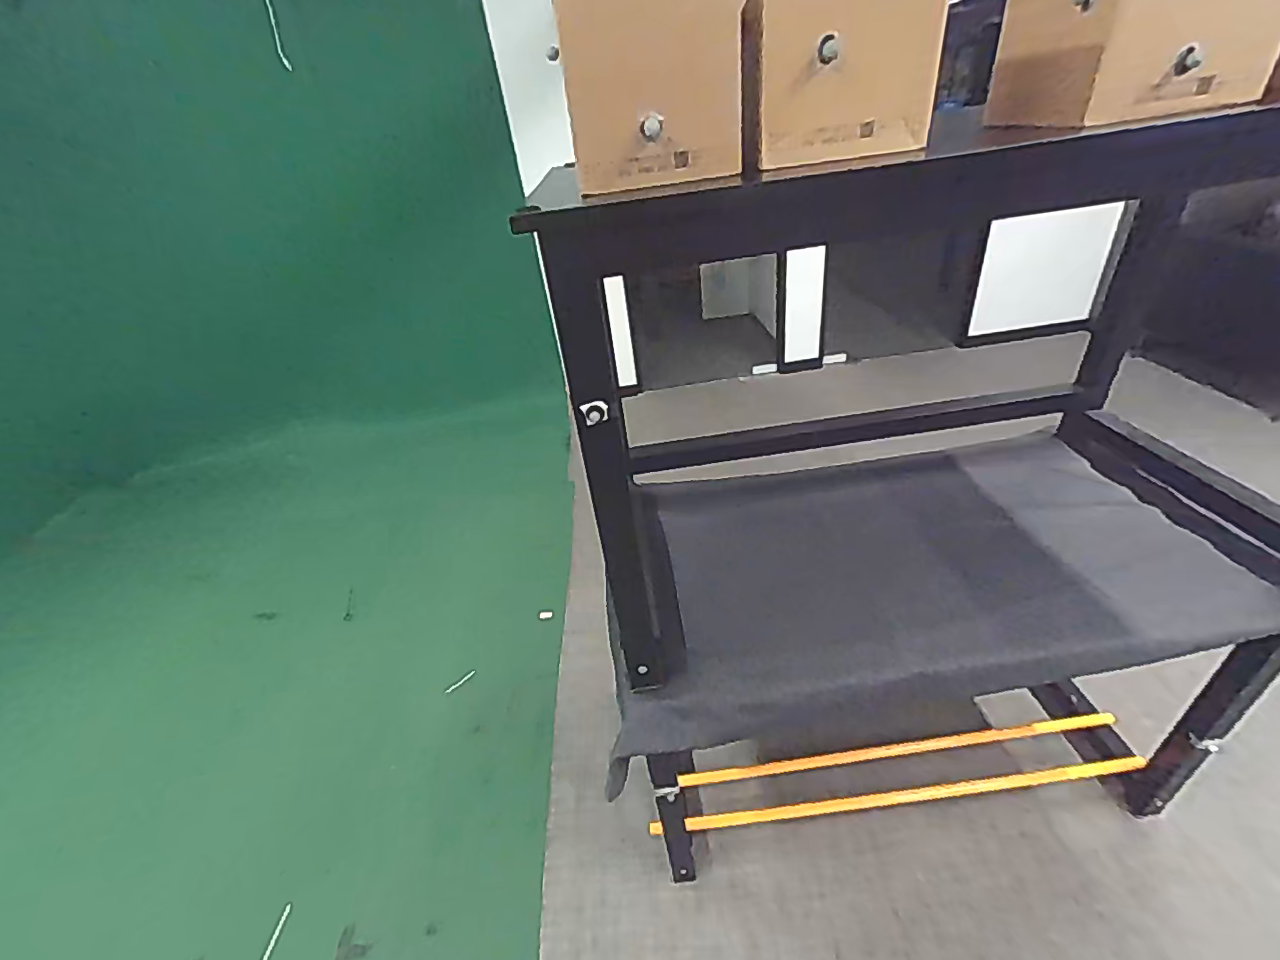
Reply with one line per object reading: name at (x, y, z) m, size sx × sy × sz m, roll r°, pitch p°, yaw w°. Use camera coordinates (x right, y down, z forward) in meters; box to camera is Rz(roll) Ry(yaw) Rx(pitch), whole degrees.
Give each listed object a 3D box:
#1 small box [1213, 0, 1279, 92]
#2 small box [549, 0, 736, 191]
small box at (0.759, -0.504, 0.539) m, size 0.168 × 0.176 × 0.179 m, roll -3°, pitch 33°, yaw 8°
small box at (0.001, -0.412, 0.571) m, size 0.168 × 0.176 × 0.179 m, roll -9°, pitch 34°, yaw -1°
